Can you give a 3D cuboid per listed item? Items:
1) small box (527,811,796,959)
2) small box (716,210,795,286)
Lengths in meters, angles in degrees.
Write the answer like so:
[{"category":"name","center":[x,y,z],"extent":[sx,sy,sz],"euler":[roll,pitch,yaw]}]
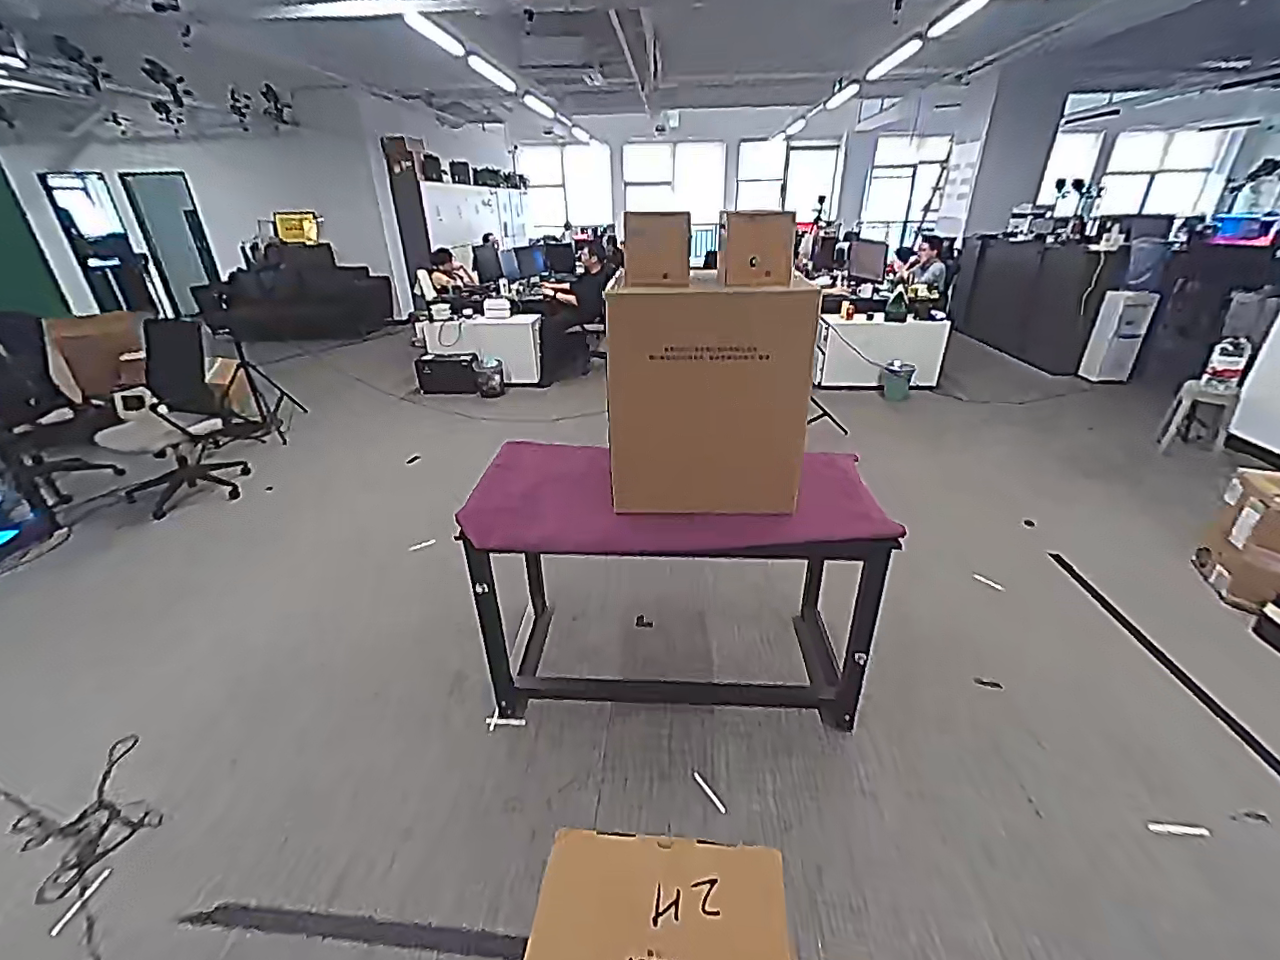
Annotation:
[{"category":"small box","center":[0.017,0.362,0.359],"extent":[0.168,0.176,0.179],"euler":[1,27,7]},{"category":"small box","center":[0.289,-0.601,1.395],"extent":[0.168,0.176,0.179],"euler":[-2,28,1]}]
